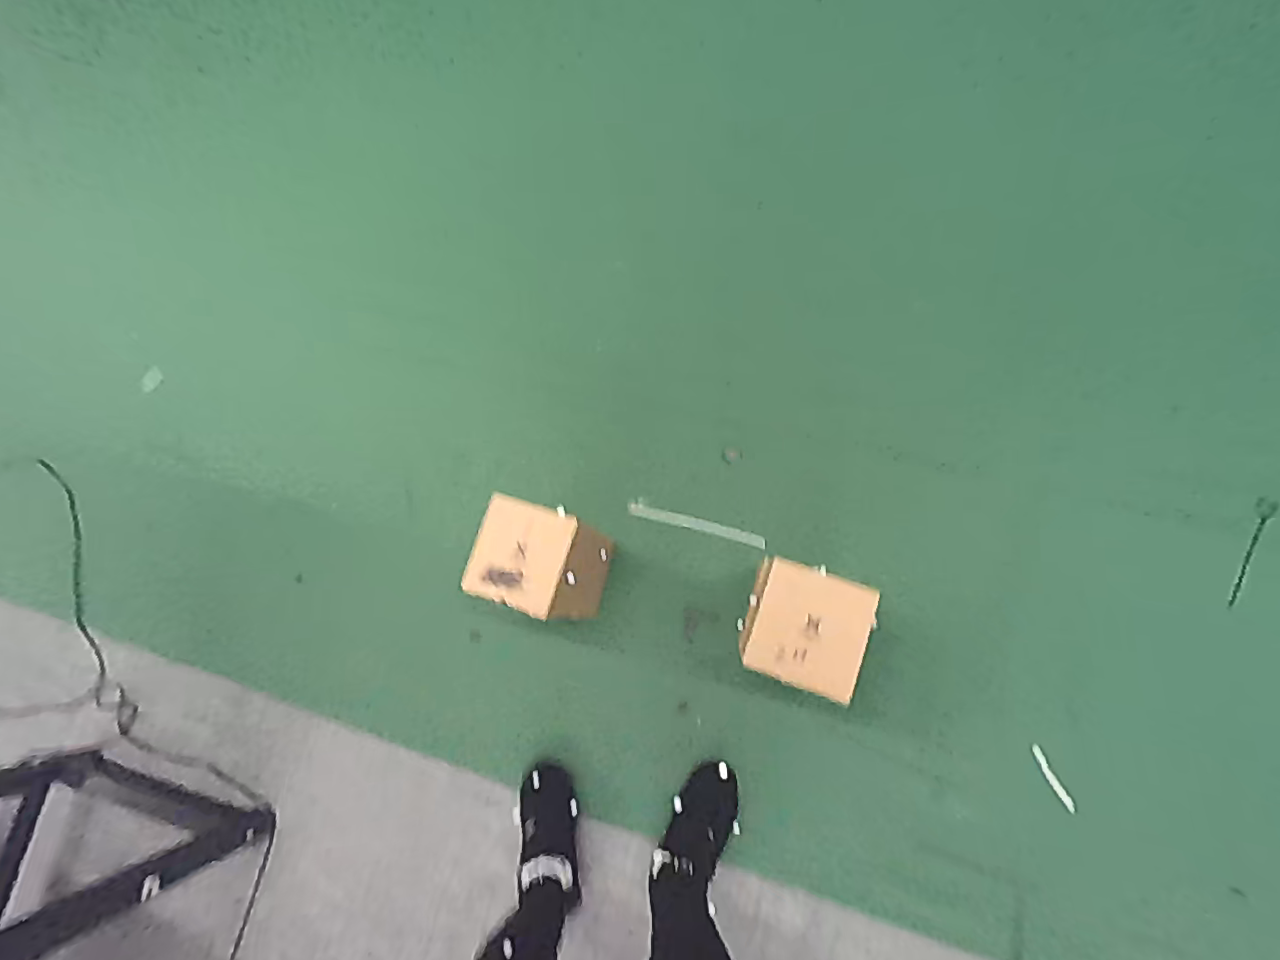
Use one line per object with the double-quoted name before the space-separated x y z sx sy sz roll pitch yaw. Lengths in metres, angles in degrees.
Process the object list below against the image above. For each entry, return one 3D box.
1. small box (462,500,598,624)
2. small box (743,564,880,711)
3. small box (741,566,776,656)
"small box" -0.192 0.155 1.001 0.168 0.176 0.179 16 80 13
"small box" 0.274 0.253 0.902 0.168 0.176 0.179 18 83 13
"small box" 0.298 0.279 1.063 0.168 0.176 0.179 16 83 12
